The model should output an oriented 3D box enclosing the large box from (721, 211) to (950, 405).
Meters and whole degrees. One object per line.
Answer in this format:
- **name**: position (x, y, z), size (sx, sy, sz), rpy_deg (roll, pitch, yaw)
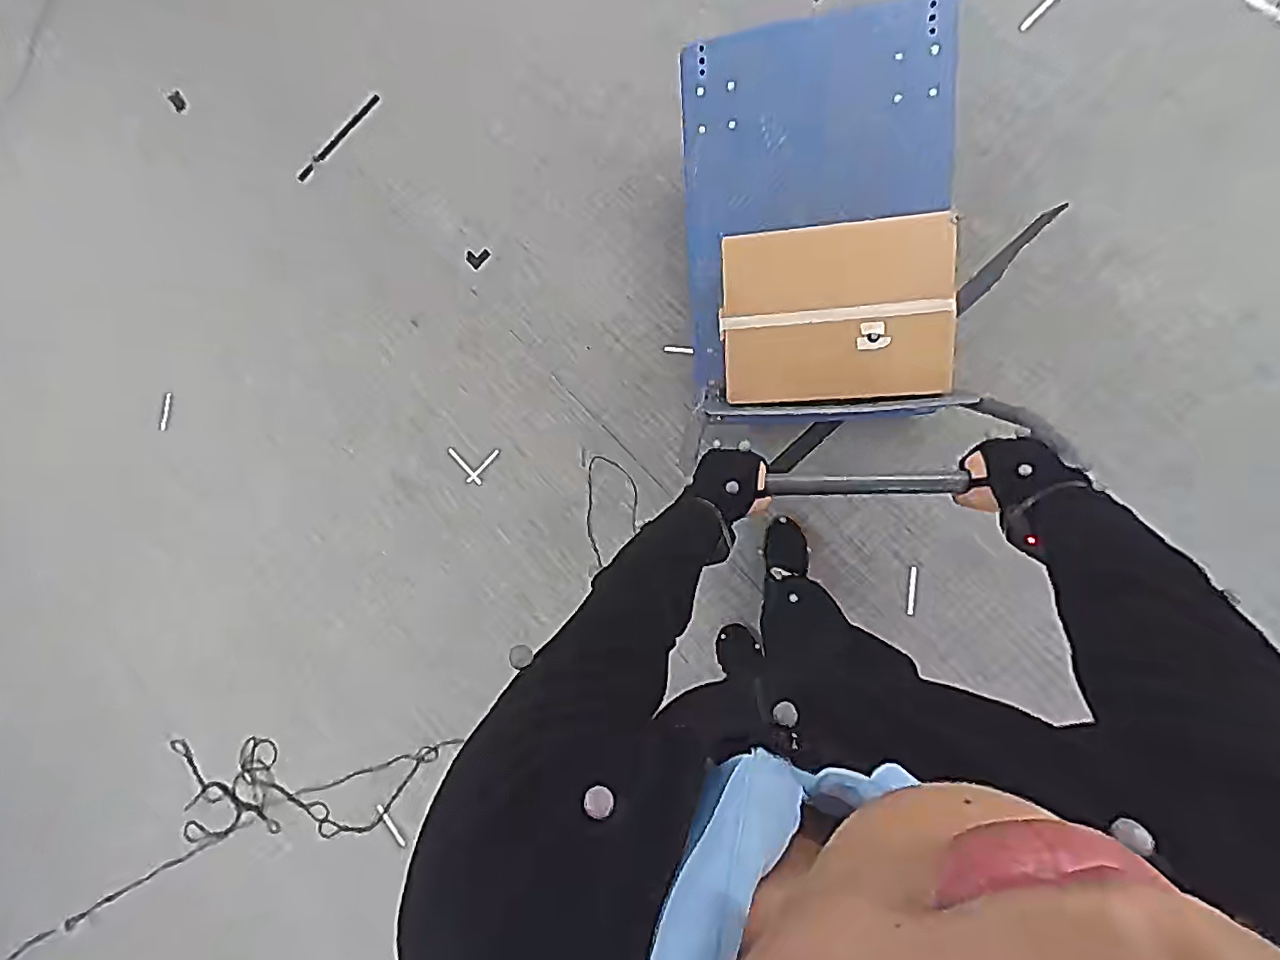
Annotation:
- **large box**: position (0.388, -0.338, 1.155), size (0.408, 0.320, 0.320), rpy_deg (-3, 101, 11)
